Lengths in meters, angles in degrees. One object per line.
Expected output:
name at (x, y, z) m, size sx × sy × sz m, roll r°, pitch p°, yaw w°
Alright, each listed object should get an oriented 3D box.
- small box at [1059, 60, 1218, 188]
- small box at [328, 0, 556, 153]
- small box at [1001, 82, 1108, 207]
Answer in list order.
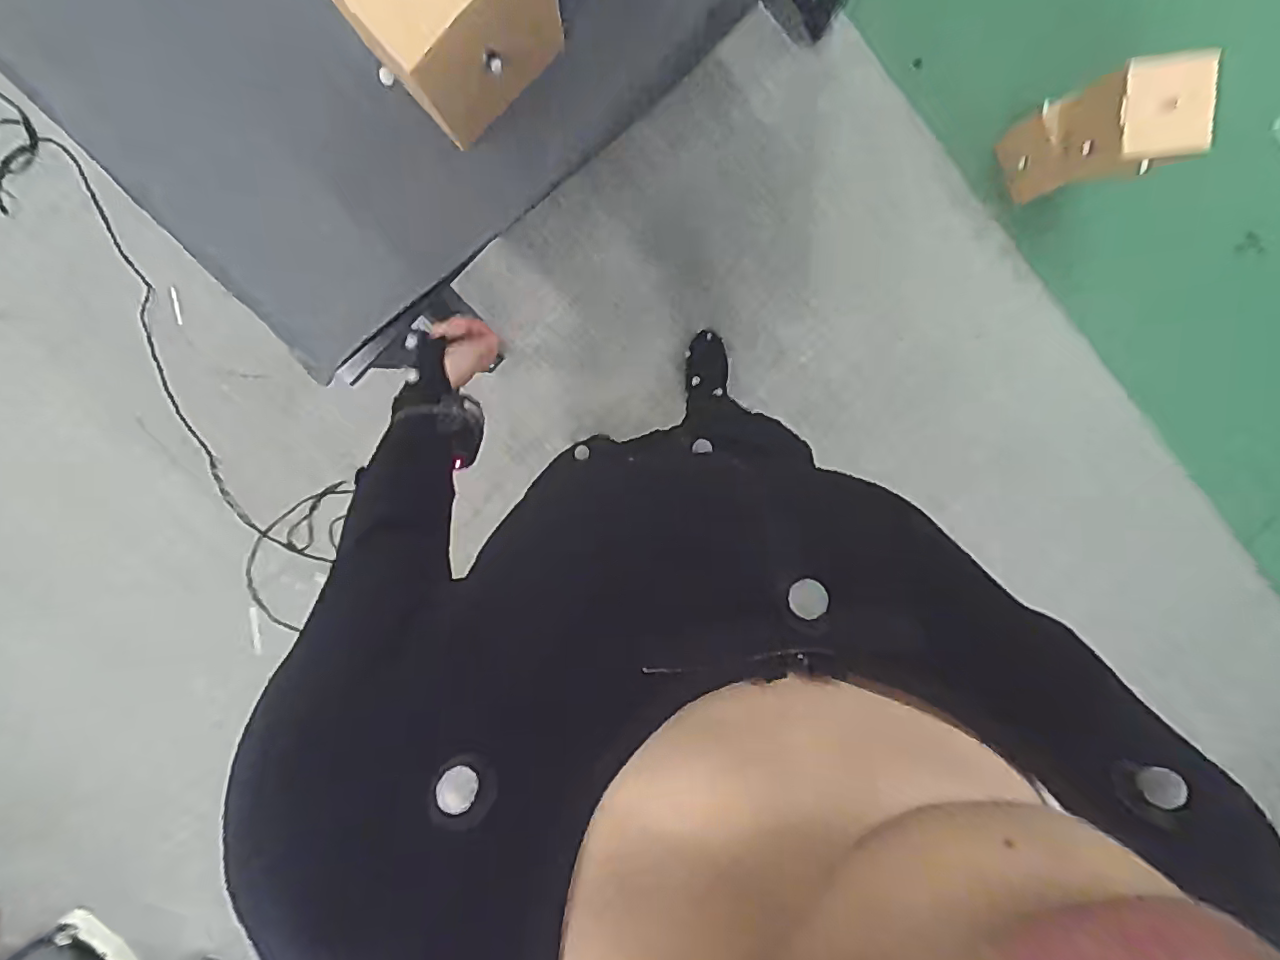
small box at (1.008, -0.718, 1.110) m, size 0.179 × 0.176 × 0.168 m, roll -6°, pitch 102°, yaw -1°
small box at (-0.202, -0.488, 0.552) m, size 0.179 × 0.176 × 0.168 m, roll -42°, pitch 97°, yaw 7°
small box at (0.988, -0.774, 1.265) m, size 0.179 × 0.176 × 0.168 m, roll -26°, pitch 100°, yaw 4°
